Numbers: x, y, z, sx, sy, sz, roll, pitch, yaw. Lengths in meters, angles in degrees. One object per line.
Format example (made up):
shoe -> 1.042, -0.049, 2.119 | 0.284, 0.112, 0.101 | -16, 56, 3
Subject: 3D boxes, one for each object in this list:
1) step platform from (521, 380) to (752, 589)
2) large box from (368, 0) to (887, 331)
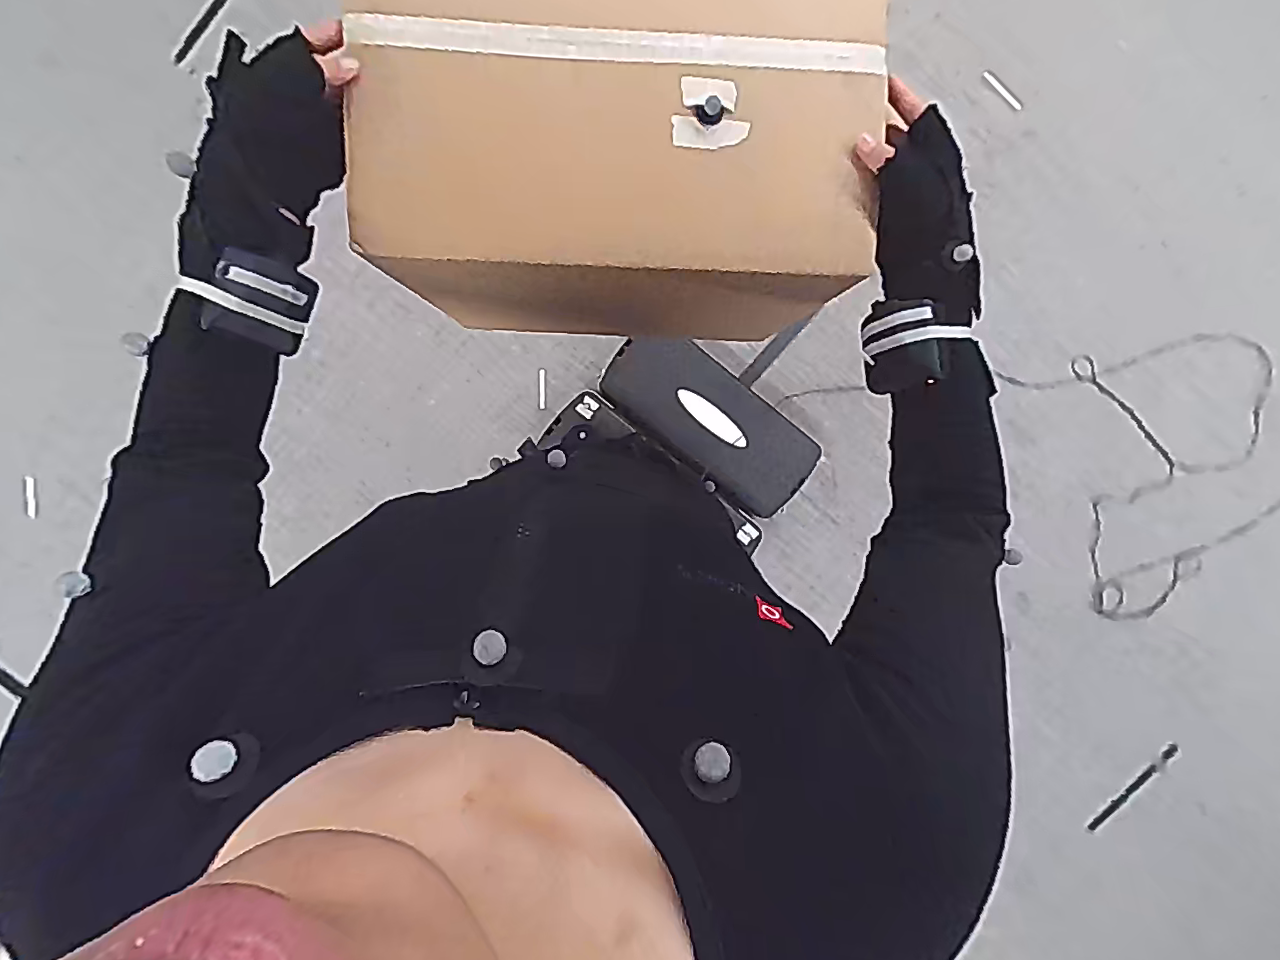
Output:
step platform -> -0.008, 0.013, 1.581 | 0.684, 0.204, 0.286 | 38, 94, -3
large box -> -0.017, -0.345, 0.564 | 0.408, 0.320, 0.320 | 2, 96, -4
